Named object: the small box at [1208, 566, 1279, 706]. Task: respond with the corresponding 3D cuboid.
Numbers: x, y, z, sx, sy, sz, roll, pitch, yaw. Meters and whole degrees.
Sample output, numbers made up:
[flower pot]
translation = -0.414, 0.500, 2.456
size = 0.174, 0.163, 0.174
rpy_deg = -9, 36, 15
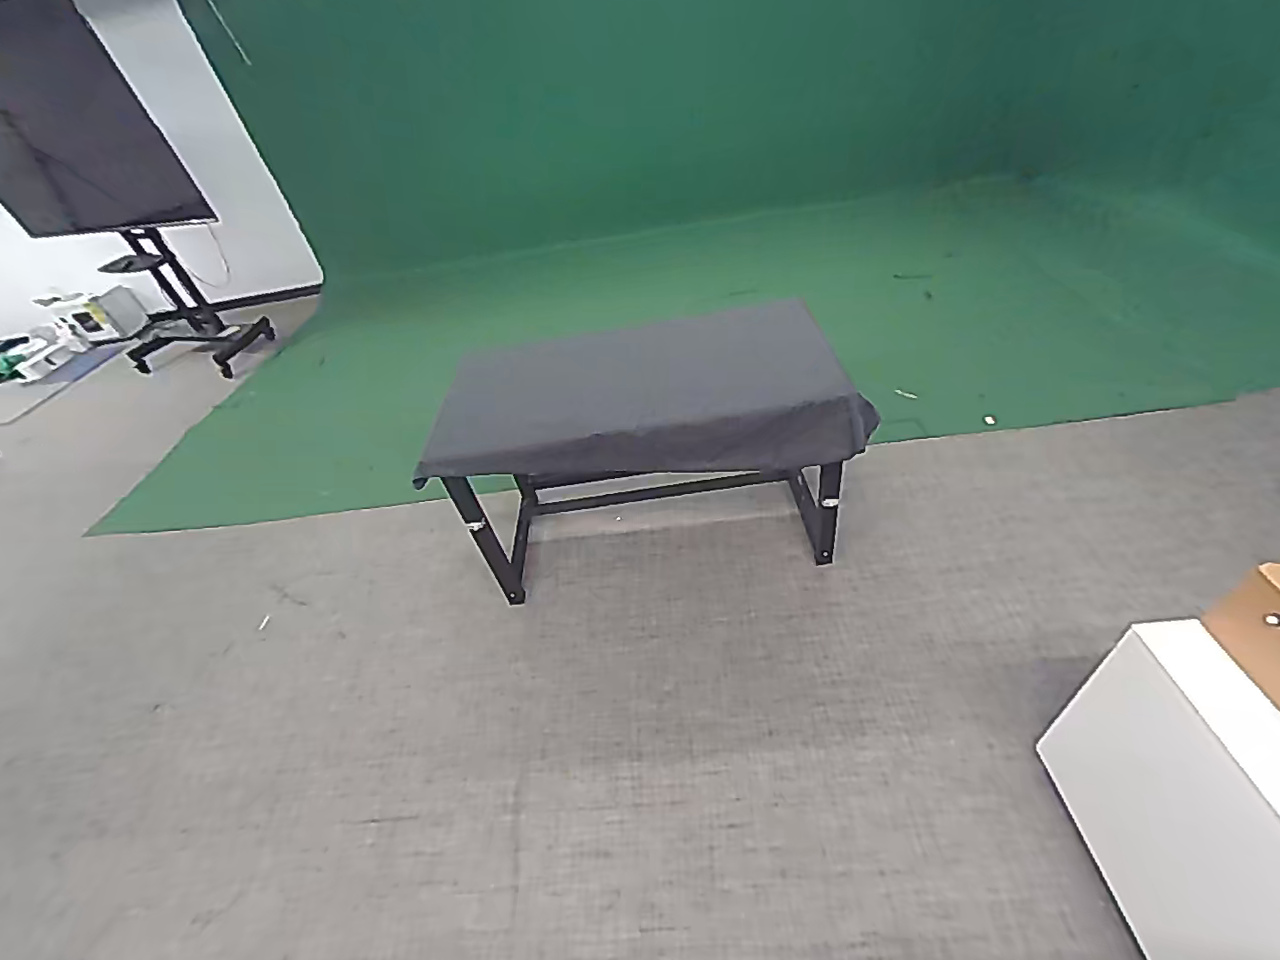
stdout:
[small box]
translation = 1.074, 0.246, 0.844
size = 0.168, 0.176, 0.179
rpy_deg = -8, 44, 5
